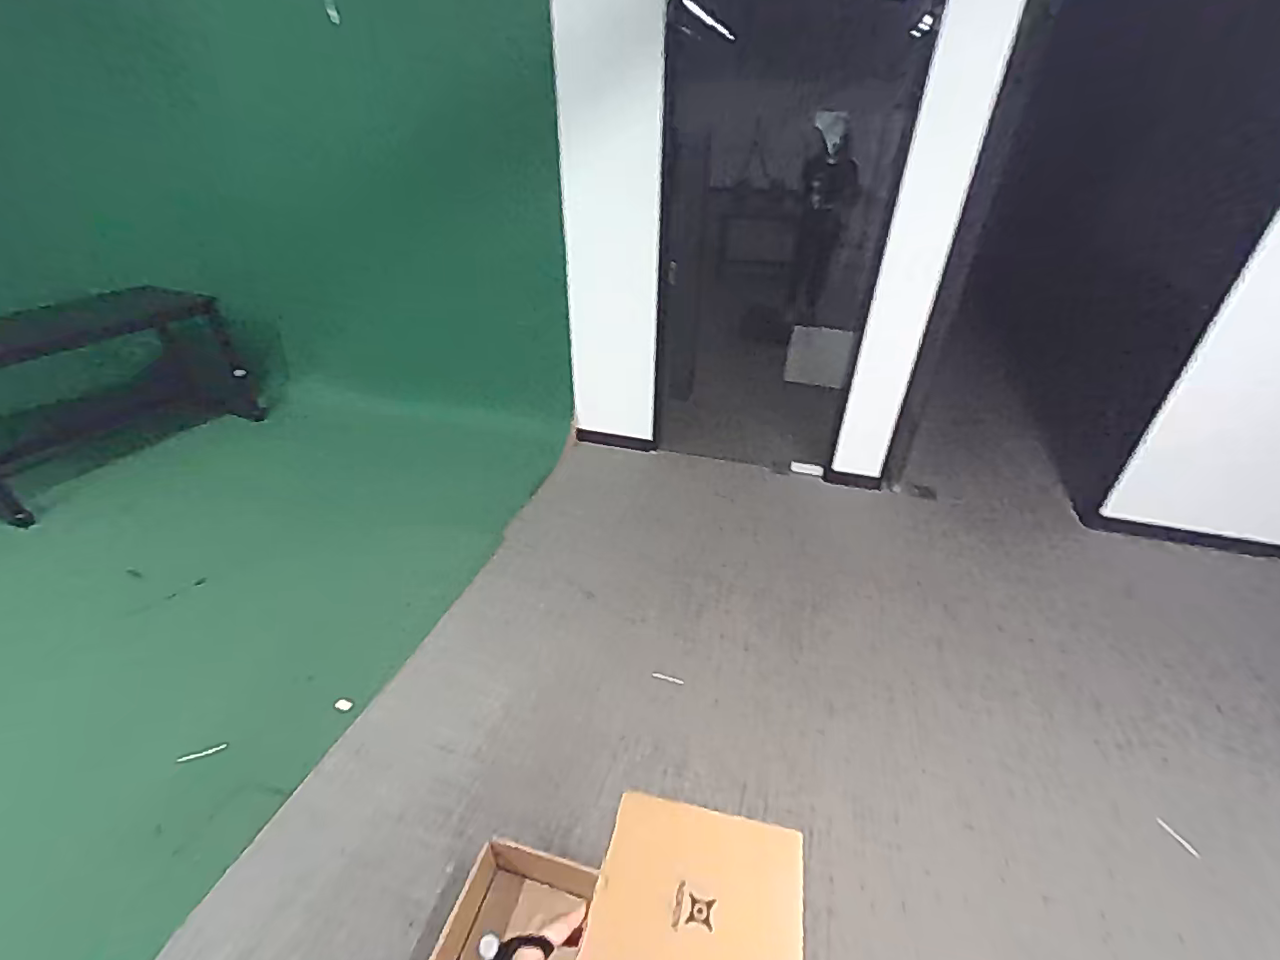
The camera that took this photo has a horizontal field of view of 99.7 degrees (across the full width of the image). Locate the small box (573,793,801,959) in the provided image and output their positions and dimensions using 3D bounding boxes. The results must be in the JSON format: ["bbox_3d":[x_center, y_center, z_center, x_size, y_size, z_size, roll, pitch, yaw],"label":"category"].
[{"bbox_3d":[0.048,0.427,0.491,0.179,0.176,0.168,3,30,13],"label":"small box"}]
